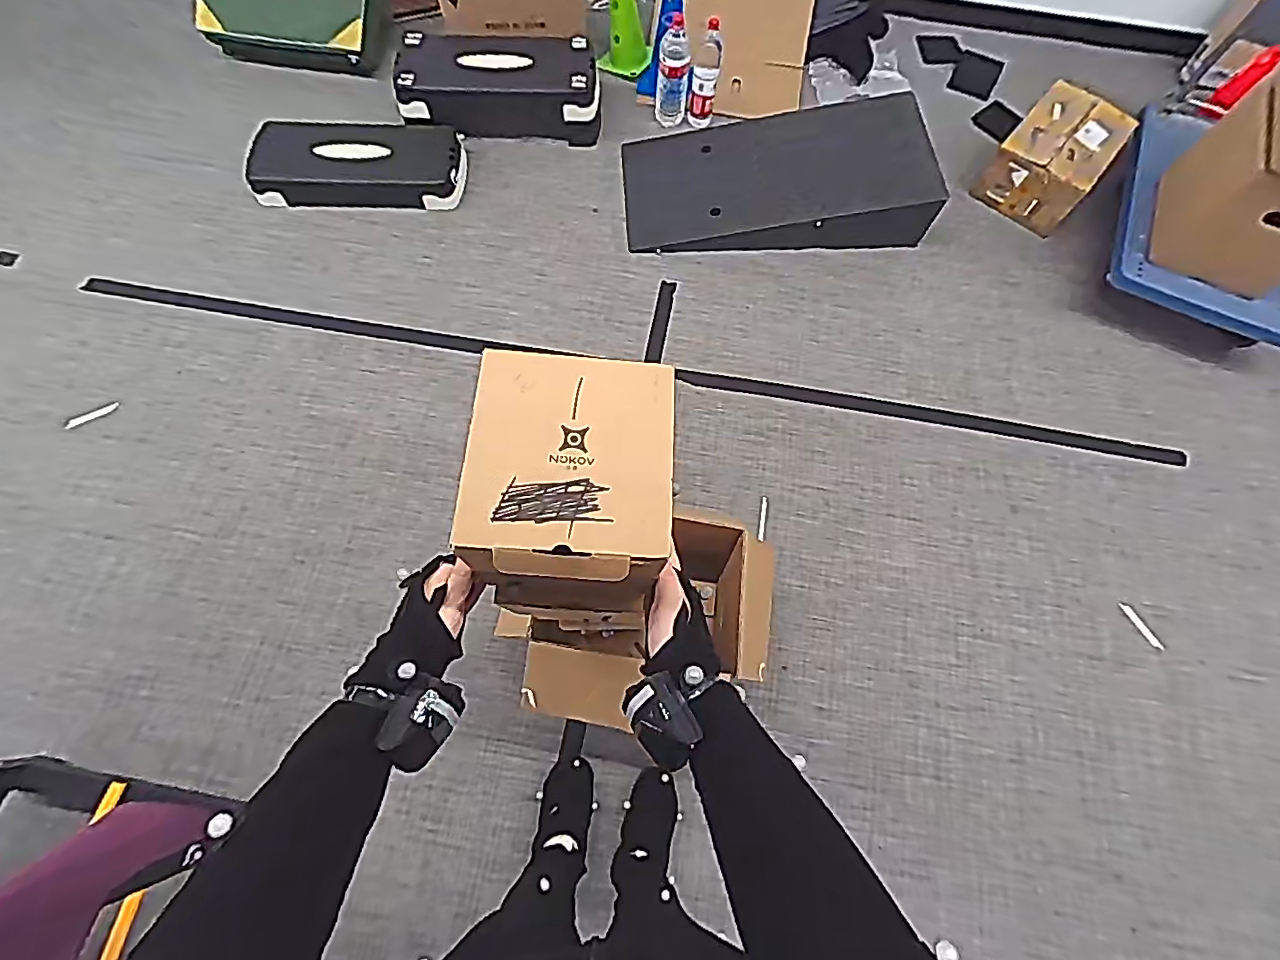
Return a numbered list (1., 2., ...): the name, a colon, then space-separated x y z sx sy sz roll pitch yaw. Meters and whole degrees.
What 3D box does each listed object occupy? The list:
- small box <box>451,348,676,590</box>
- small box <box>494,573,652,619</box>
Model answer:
1. small box: -0.062 0.002 0.509 0.168 0.176 0.179 5 69 -4
2. small box: -0.070 0.074 0.662 0.168 0.176 0.179 6 73 -4
